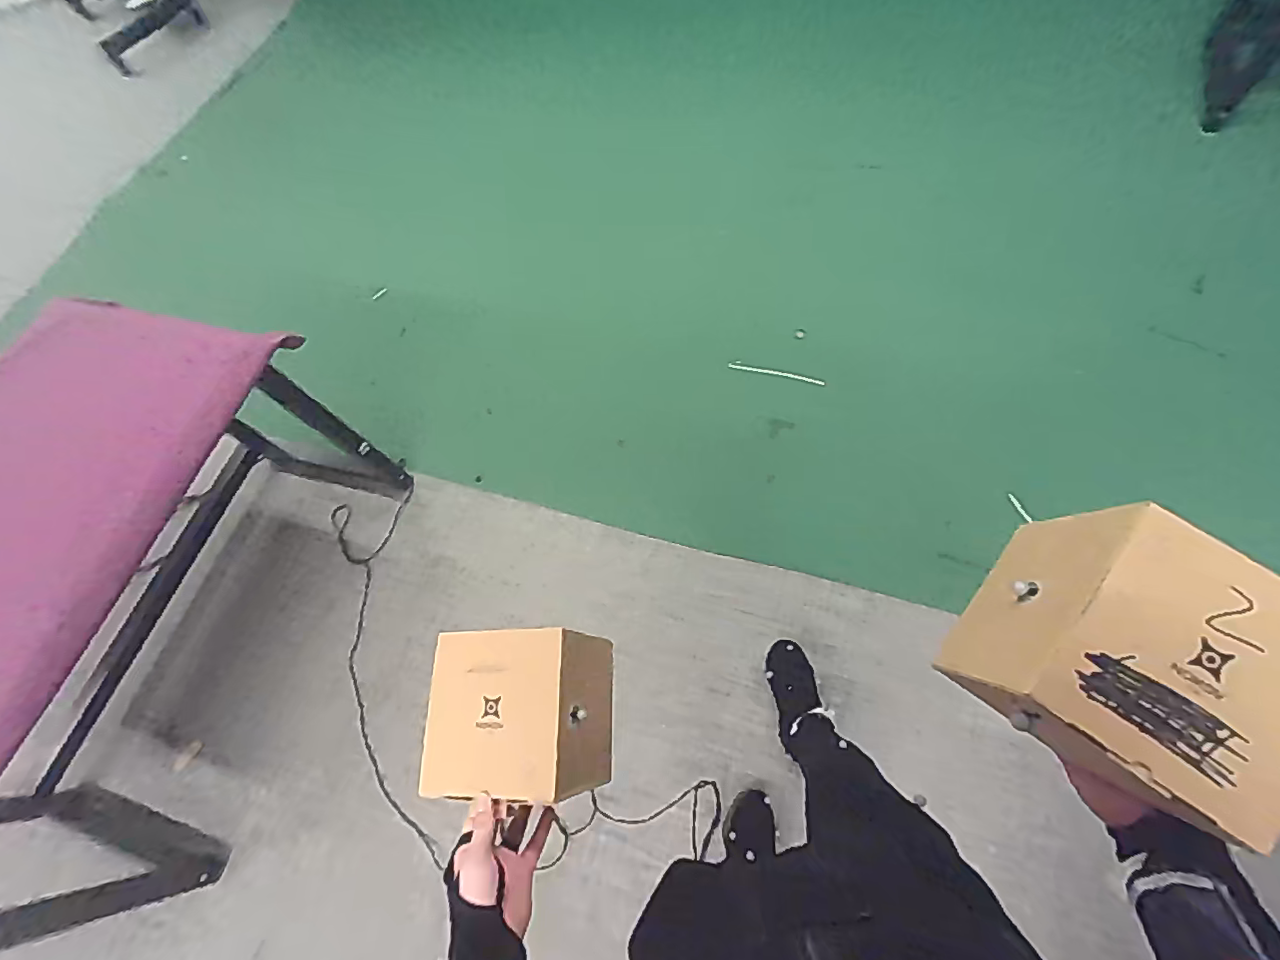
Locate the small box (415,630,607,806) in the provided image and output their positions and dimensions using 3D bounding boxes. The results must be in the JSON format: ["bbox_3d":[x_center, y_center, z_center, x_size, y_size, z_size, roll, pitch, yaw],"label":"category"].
[{"bbox_3d":[-0.145,0.283,0.668,0.168,0.176,0.179,-6,67,16],"label":"small box"}]
